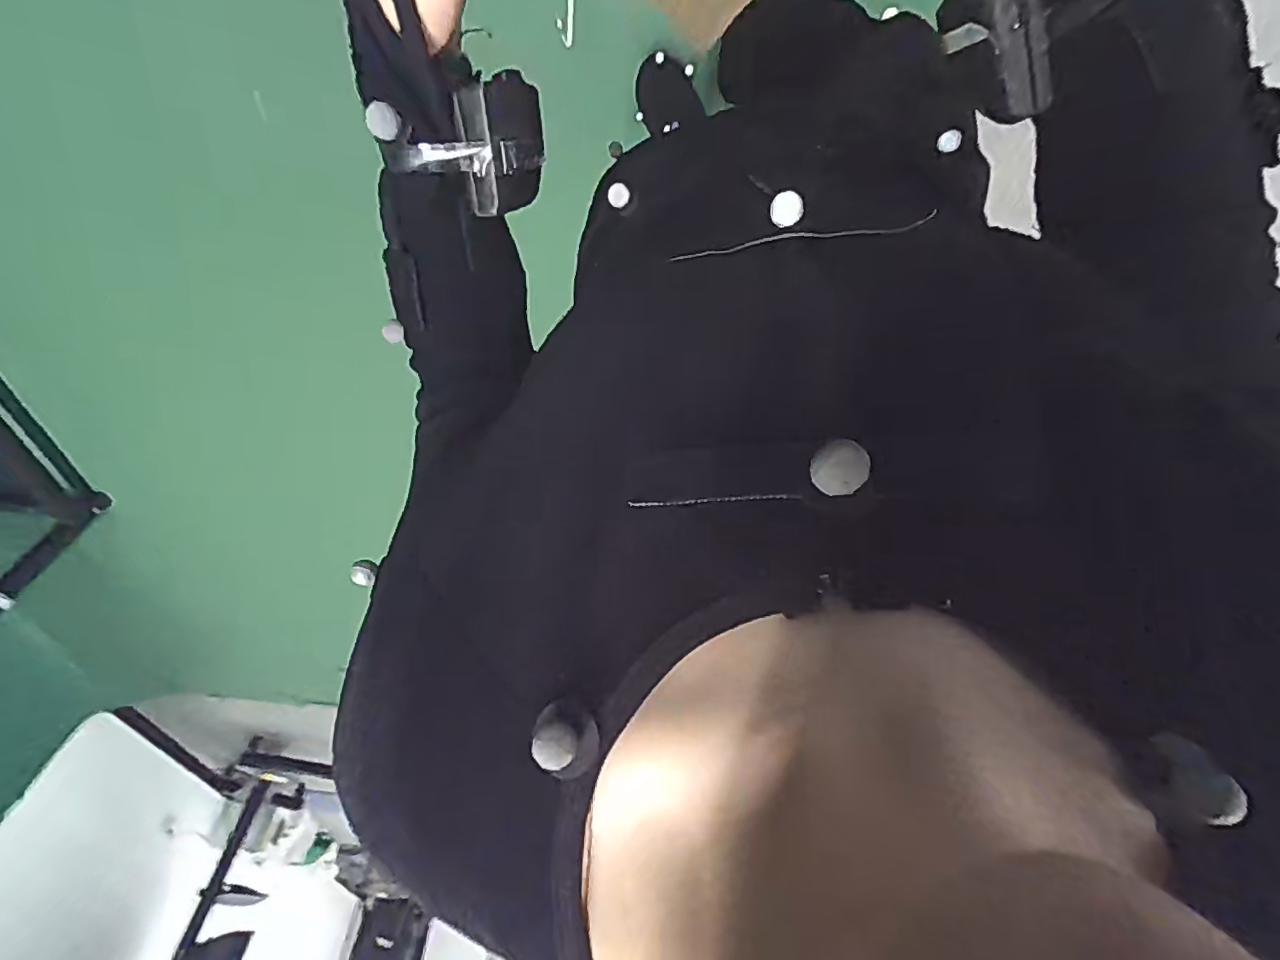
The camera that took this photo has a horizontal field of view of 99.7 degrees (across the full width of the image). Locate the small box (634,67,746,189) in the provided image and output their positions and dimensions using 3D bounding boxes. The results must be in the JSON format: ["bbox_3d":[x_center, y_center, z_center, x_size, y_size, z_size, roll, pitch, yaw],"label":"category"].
[{"bbox_3d":[0.092,-0.667,1.021,0.179,0.176,0.168,15,130,6],"label":"small box"}]
